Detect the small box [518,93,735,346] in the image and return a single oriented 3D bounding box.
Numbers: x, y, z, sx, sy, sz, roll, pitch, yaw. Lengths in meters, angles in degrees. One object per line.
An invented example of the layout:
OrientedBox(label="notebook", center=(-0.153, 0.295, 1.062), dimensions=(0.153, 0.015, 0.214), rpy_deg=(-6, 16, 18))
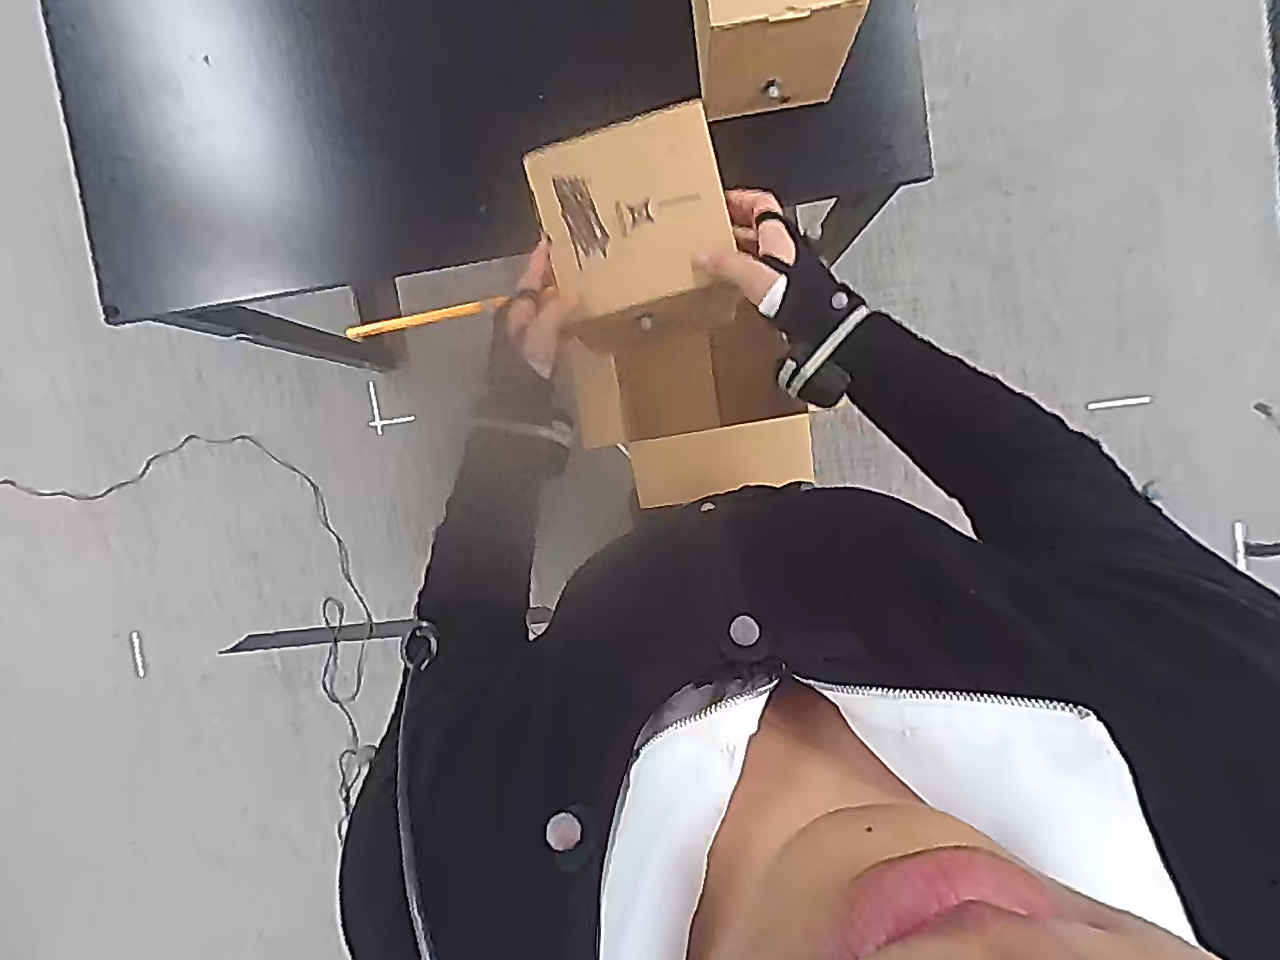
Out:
OrientedBox(label="small box", center=(-0.005, -0.254, 0.576), dimensions=(0.179, 0.176, 0.168), rpy_deg=(-14, 92, 6))

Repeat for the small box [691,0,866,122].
OrientedBox(label="small box", center=(0.150, -0.569, 0.637), dimensions=(0.168, 0.176, 0.179), rpy_deg=(-6, 93, 5))
